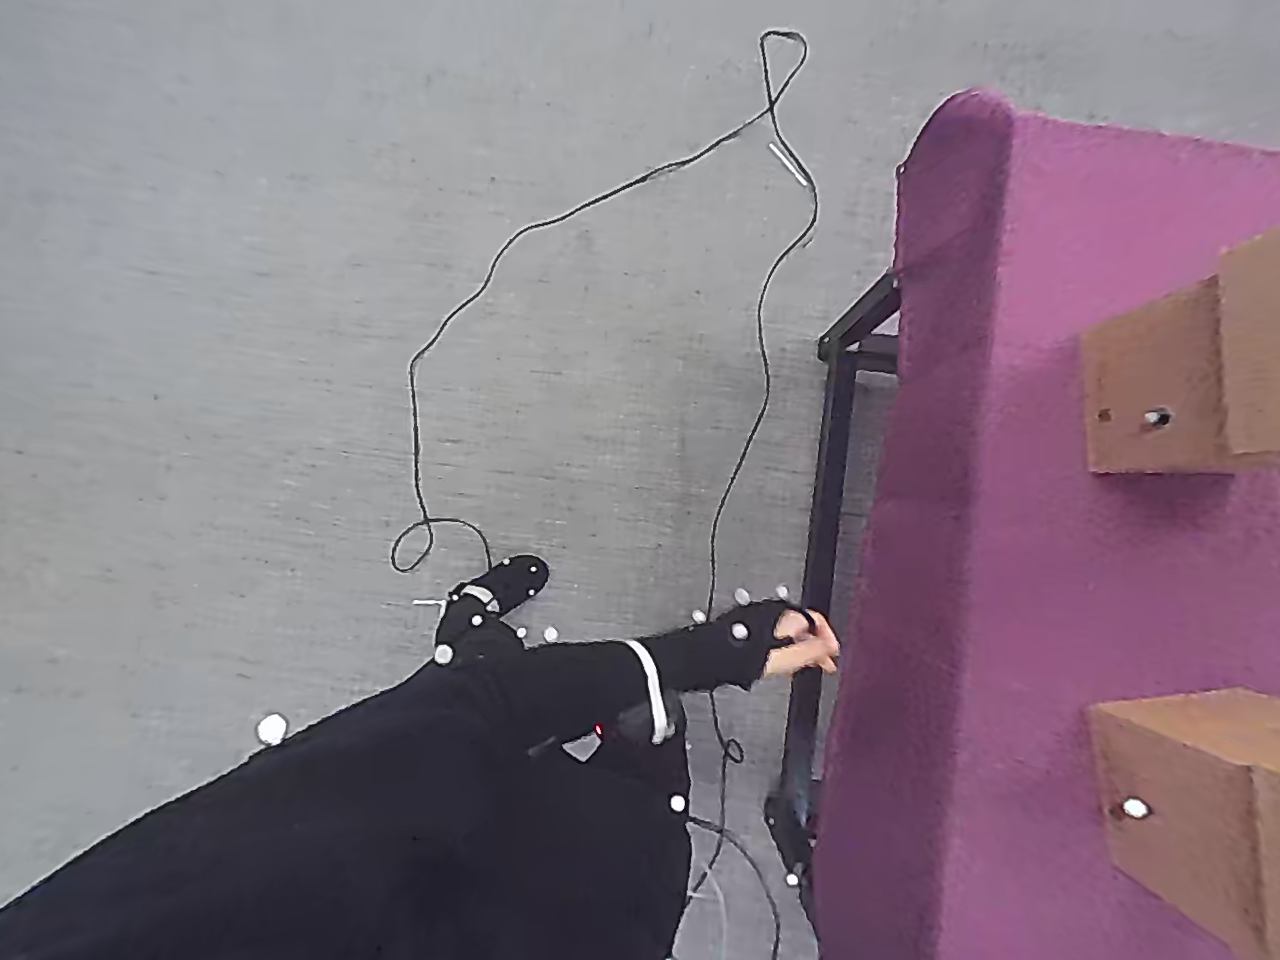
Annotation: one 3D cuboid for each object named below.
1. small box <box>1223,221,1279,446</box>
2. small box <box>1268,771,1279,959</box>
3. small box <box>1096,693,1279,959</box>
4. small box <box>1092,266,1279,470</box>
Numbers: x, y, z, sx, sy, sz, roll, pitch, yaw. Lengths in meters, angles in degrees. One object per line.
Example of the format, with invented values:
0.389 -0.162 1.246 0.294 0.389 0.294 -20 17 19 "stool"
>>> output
0.559 -0.112 0.362 0.168 0.176 0.179 0 86 0 "small box"
0.558 0.297 0.330 0.168 0.176 0.179 -1 86 0 "small box"
0.578 0.307 0.494 0.179 0.176 0.168 -5 86 0 "small box"
0.585 -0.097 0.525 0.179 0.176 0.168 0 87 -1 "small box"
